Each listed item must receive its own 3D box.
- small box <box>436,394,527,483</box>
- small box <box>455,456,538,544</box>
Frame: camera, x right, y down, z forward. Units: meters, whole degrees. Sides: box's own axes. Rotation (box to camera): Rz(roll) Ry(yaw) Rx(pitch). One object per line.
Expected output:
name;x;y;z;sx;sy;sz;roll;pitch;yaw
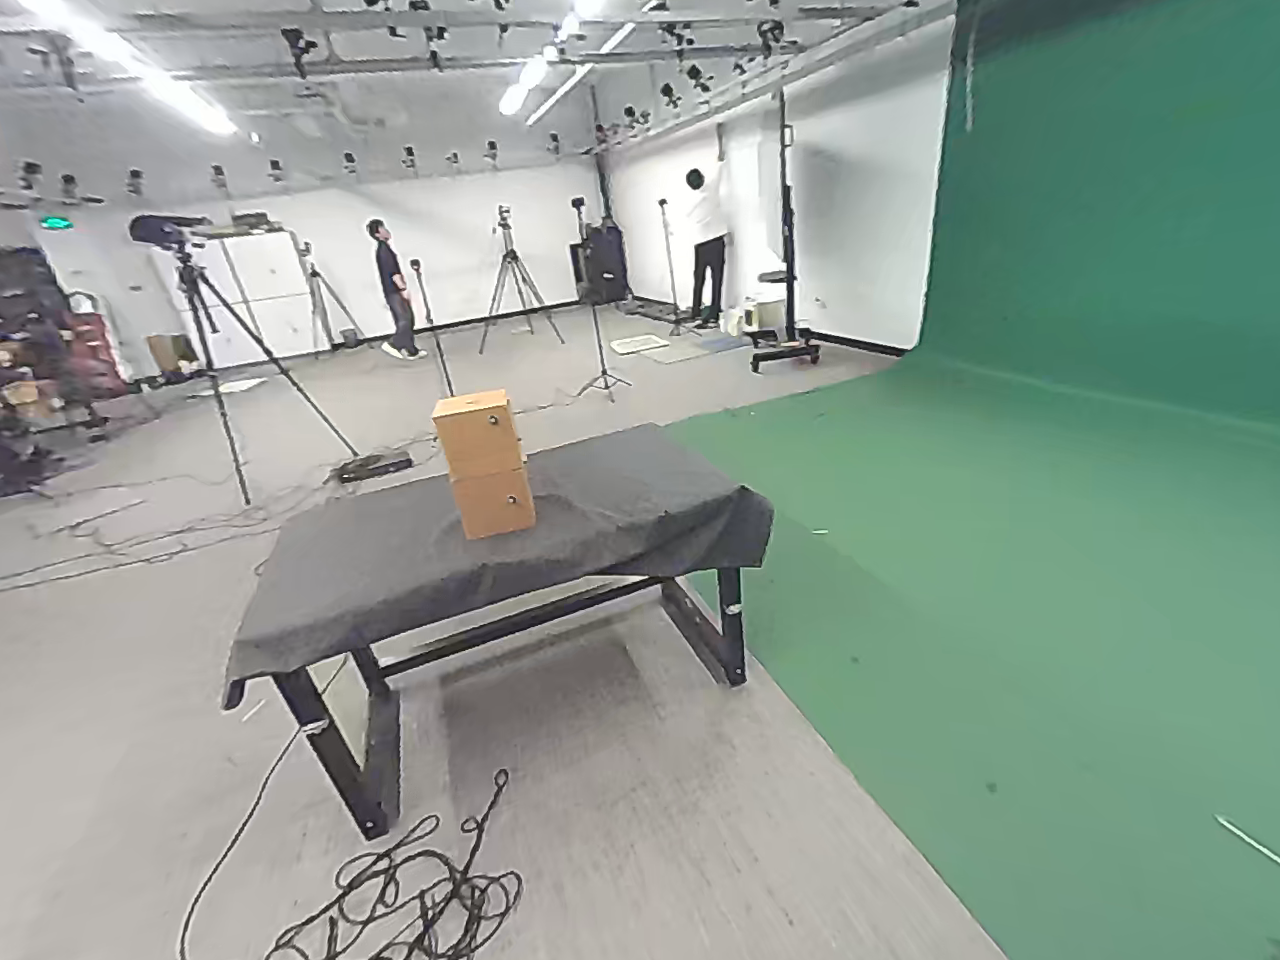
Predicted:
small box;-0.389;-0.104;1.350;0.179;0.176;0.168;-11;24;-9
small box;-0.367;0.044;1.414;0.179;0.176;0.168;-13;24;-9
